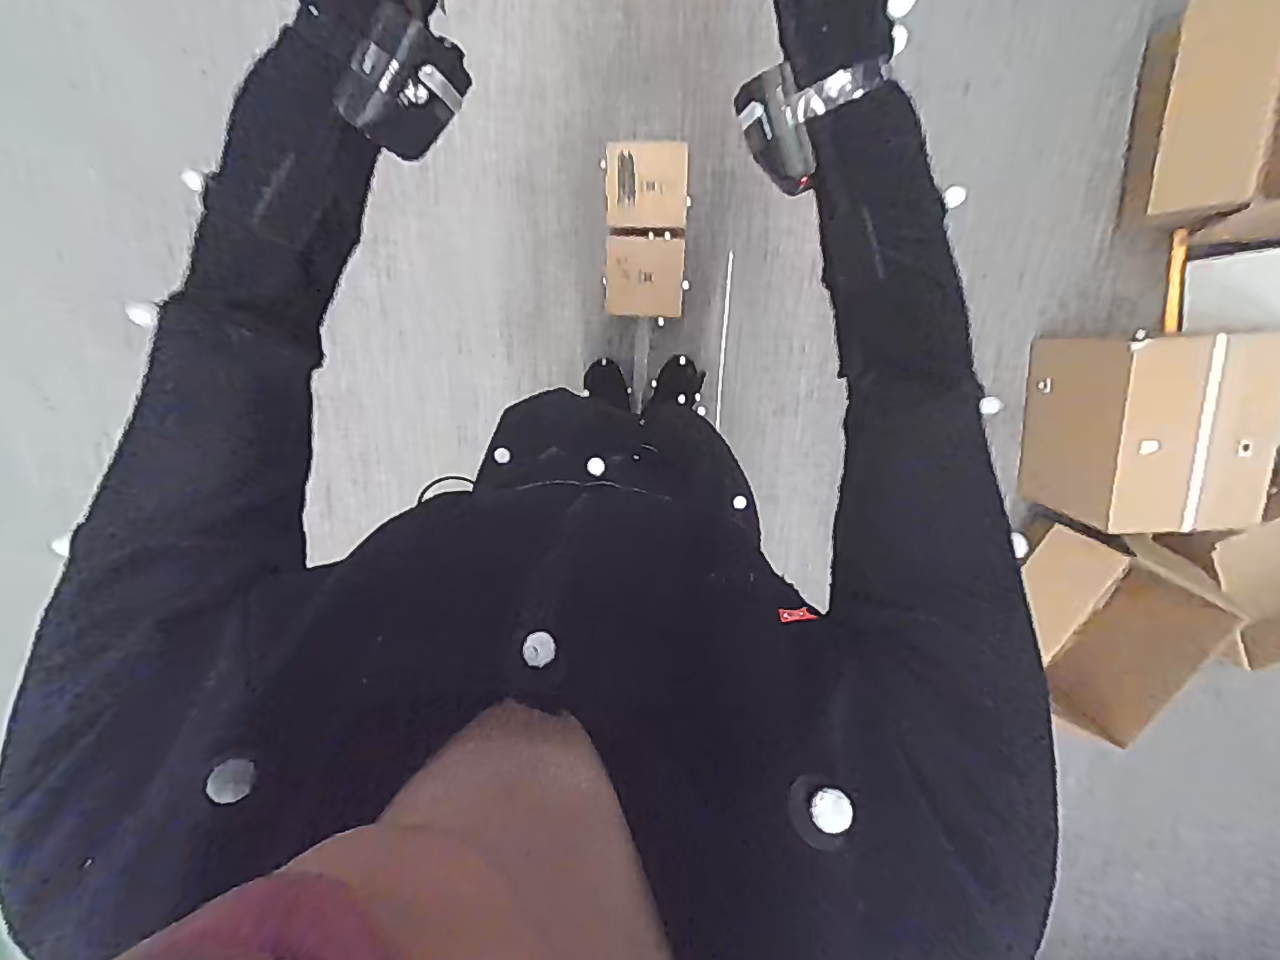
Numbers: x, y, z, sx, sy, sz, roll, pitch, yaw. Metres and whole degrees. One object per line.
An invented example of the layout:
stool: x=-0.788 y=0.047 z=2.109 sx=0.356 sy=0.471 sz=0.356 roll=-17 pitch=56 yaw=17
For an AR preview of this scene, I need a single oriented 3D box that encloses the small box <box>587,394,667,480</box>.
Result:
small box: x=-0.041 y=-0.114 z=1.393 sx=0.168 sy=0.176 sz=0.179 roll=6 pitch=105 yaw=-13
